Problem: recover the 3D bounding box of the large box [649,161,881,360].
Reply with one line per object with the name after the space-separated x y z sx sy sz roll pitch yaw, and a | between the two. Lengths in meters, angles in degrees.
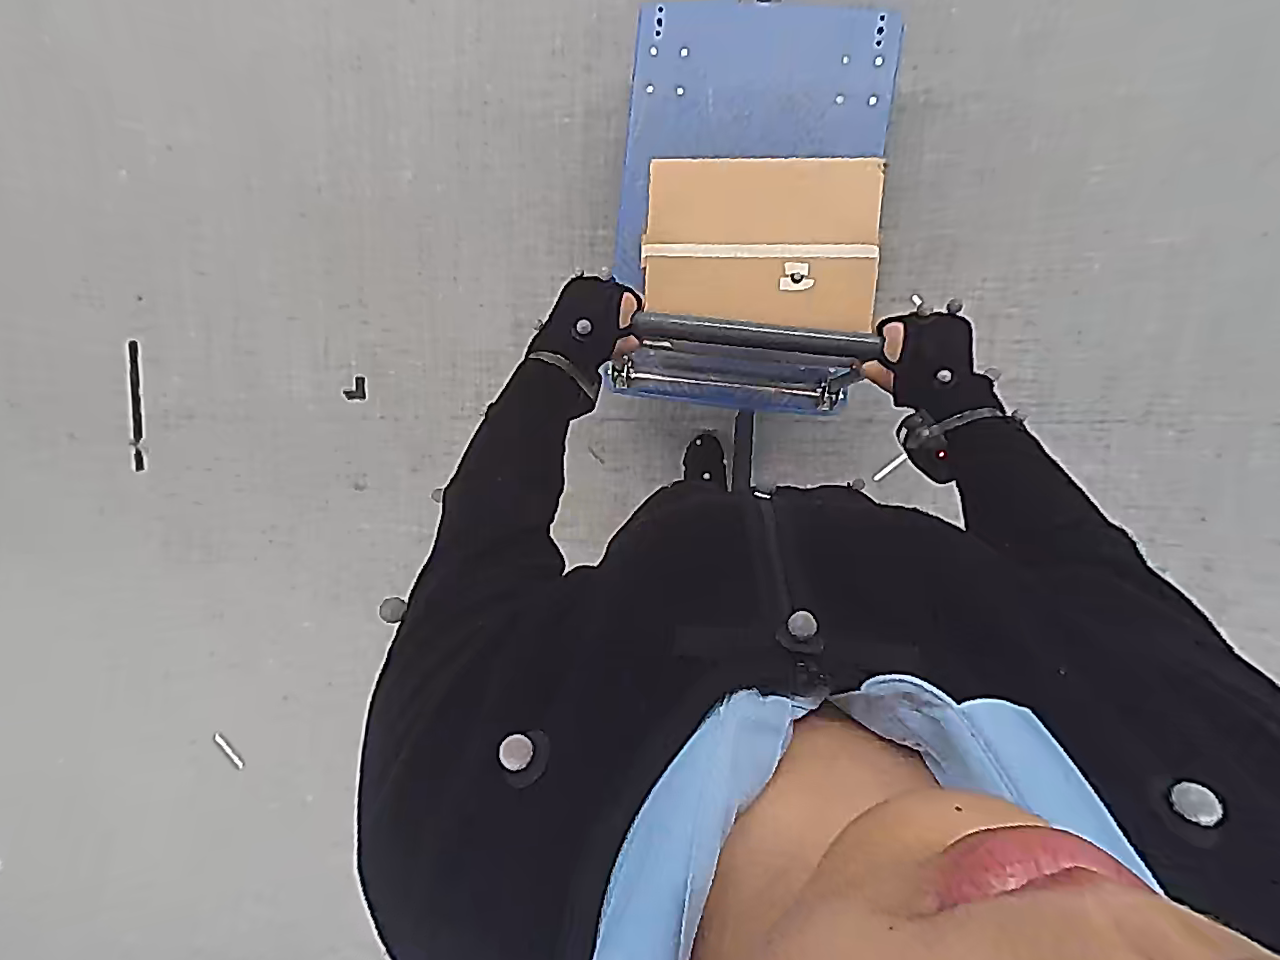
0.227 -0.422 1.115 0.408 0.320 0.320 3 97 5 | large box
